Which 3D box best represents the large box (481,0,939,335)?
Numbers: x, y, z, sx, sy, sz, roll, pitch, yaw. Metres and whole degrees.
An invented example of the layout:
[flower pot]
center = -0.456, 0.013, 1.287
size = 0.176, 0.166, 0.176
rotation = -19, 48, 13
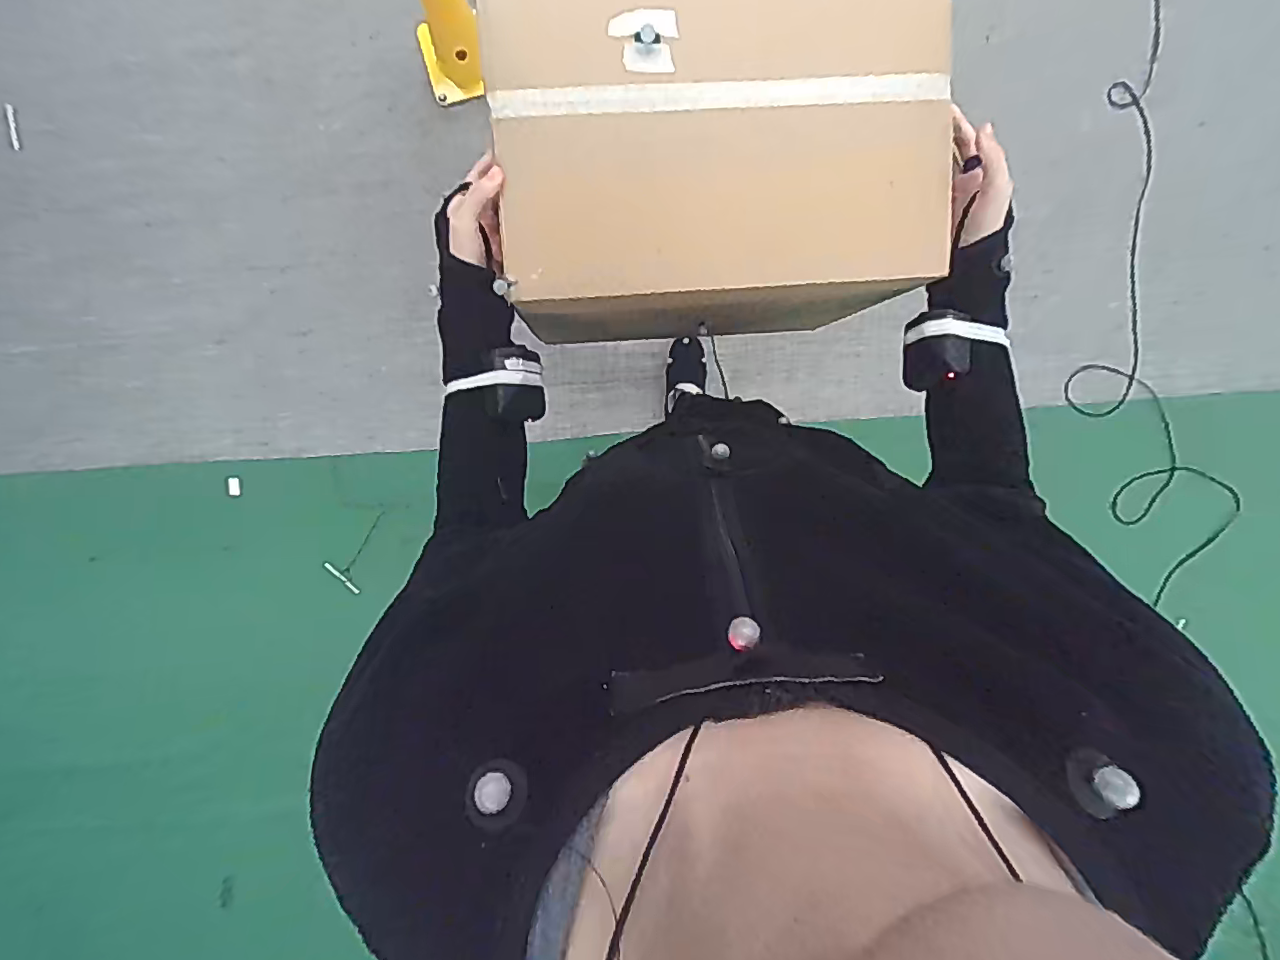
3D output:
[large box]
center = 0.063, -0.354, 0.624
size = 0.408, 0.320, 0.320
rotation = -5, 97, -3
